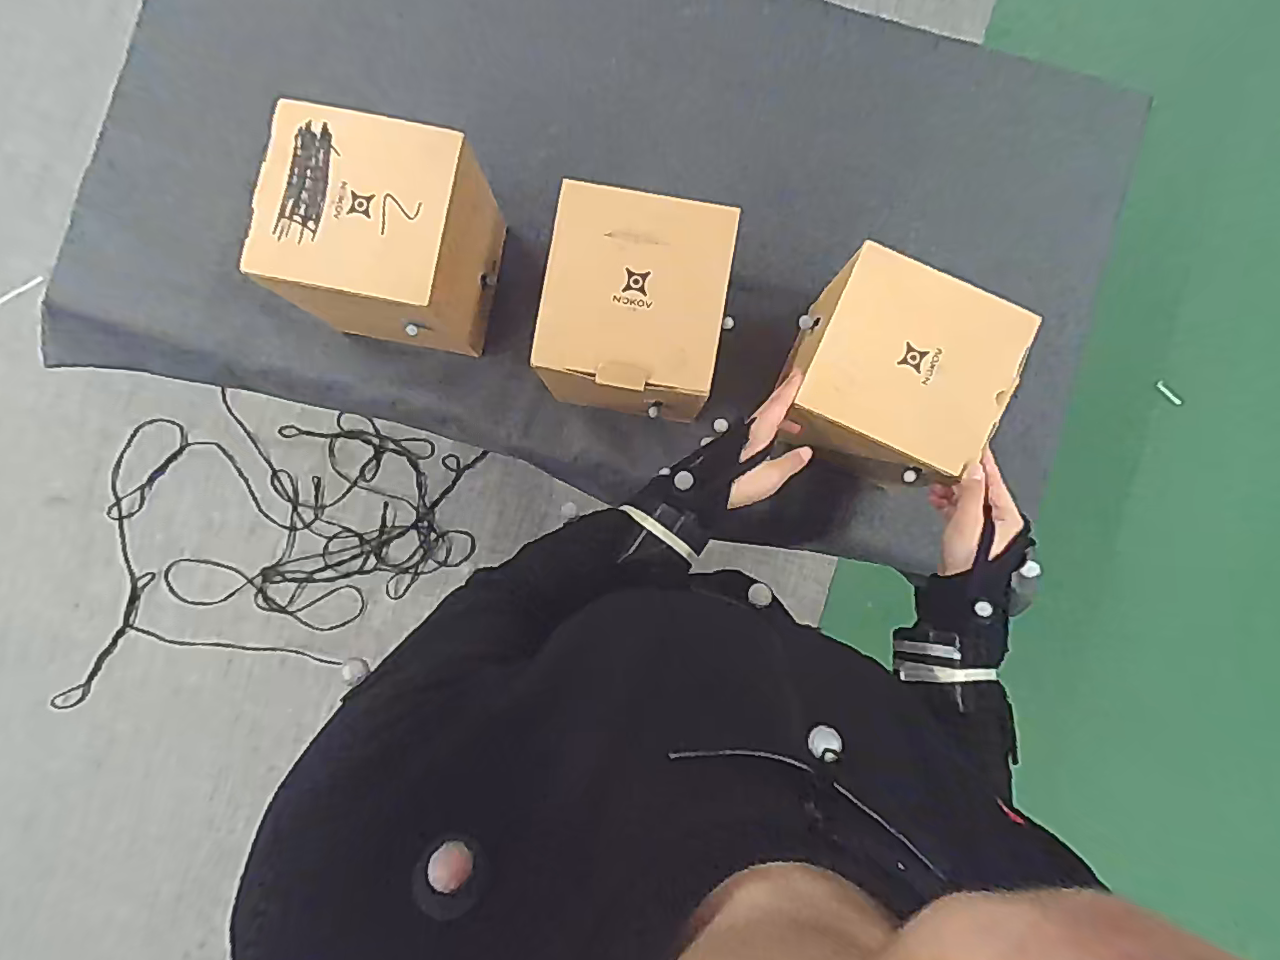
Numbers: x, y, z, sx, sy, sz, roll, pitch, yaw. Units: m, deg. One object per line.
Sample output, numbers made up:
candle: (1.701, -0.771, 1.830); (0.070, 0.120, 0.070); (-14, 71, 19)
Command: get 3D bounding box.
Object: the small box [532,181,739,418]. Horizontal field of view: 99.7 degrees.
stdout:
small box: (-0.004, -0.170, 0.565); (0.168, 0.176, 0.179); (9, 87, -1)
